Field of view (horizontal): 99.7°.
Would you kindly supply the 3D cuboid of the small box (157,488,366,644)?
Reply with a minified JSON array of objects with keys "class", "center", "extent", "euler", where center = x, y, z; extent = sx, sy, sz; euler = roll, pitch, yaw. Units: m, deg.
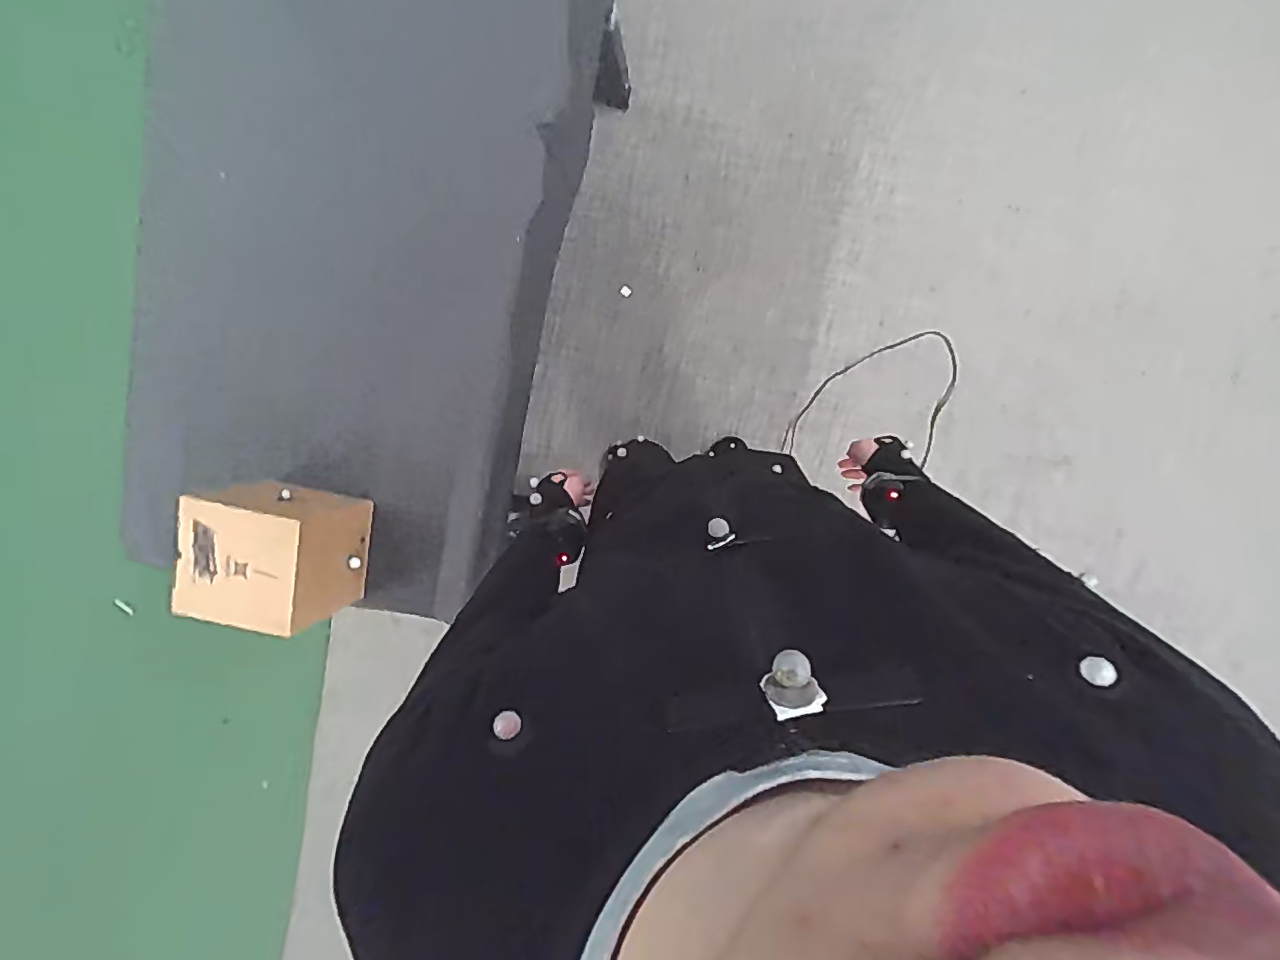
[{"class":"small box","center":[-0.534,0.111,0.780],"extent":[0.179,0.176,0.168],"euler":[11,97,4]}]
